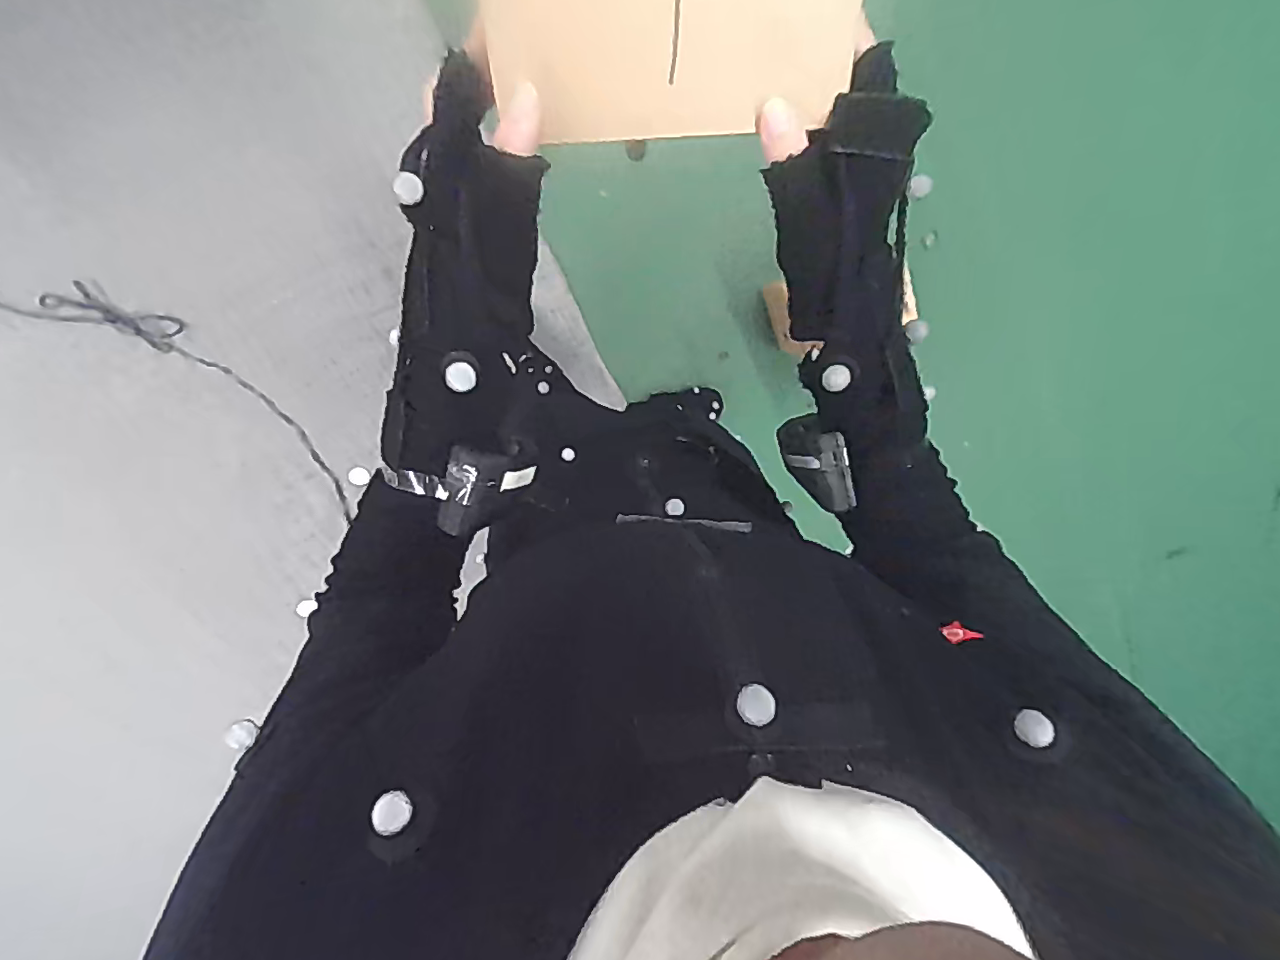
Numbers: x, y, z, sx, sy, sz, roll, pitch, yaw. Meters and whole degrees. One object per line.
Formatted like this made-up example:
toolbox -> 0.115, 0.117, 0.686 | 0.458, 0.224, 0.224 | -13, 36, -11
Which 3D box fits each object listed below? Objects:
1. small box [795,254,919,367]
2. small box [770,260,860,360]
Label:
small box -> 0.433, -0.346, 1.109 | 0.179, 0.176, 0.168 | -21, 110, 4
small box -> 0.414, -0.392, 1.246 | 0.179, 0.176, 0.168 | -20, 111, 3
